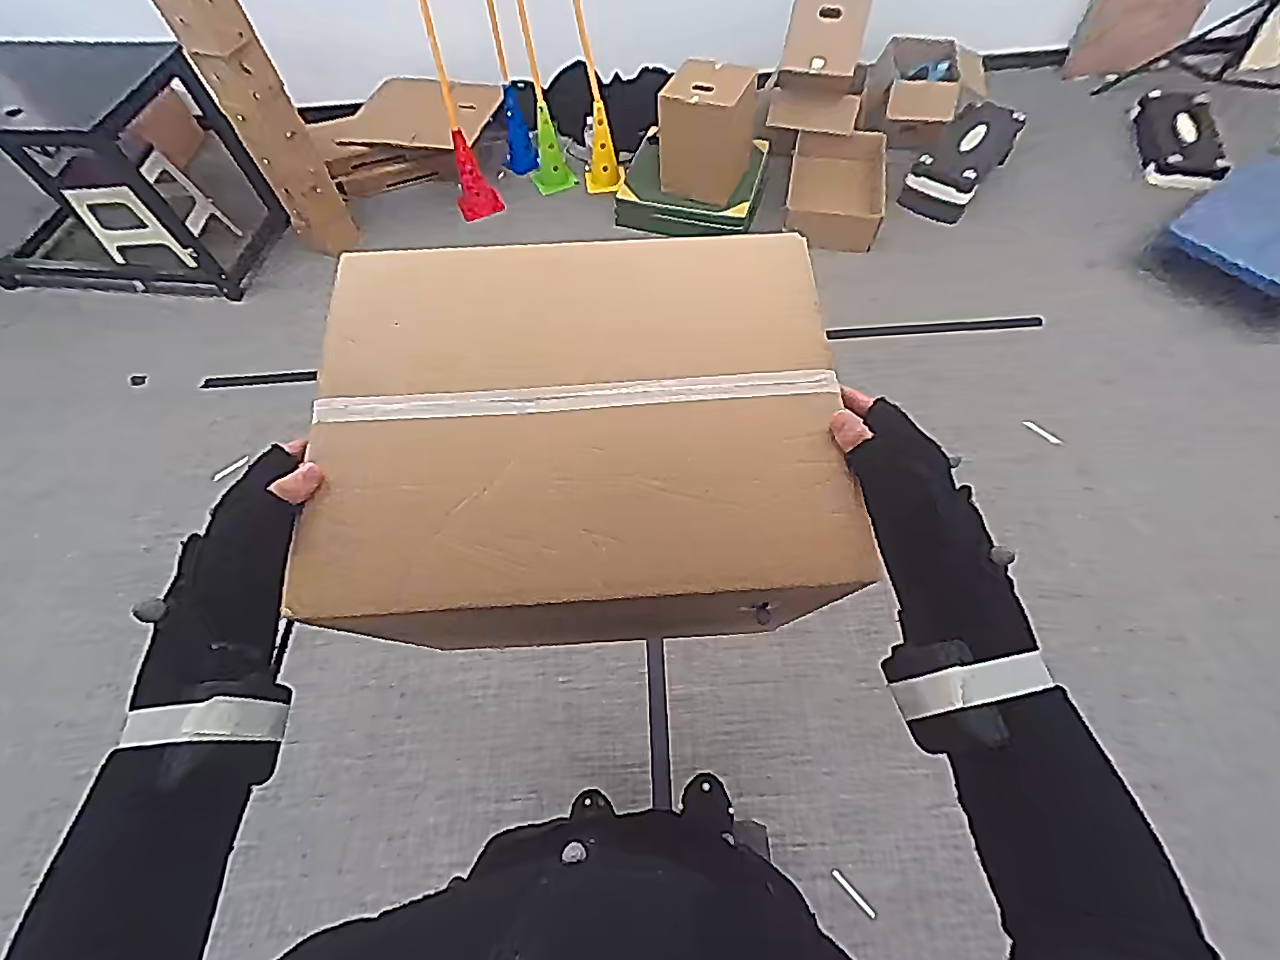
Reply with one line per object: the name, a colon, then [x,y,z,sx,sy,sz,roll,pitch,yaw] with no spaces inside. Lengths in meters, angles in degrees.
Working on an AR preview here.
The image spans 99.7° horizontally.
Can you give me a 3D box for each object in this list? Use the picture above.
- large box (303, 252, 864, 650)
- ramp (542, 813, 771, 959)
large box: [-0.047,0.000,0.569,0.408,0.320,0.320,-3,68,-2]
ramp: [0.047,1.245,1.068,0.509,0.206,0.991,-4,61,-2]
